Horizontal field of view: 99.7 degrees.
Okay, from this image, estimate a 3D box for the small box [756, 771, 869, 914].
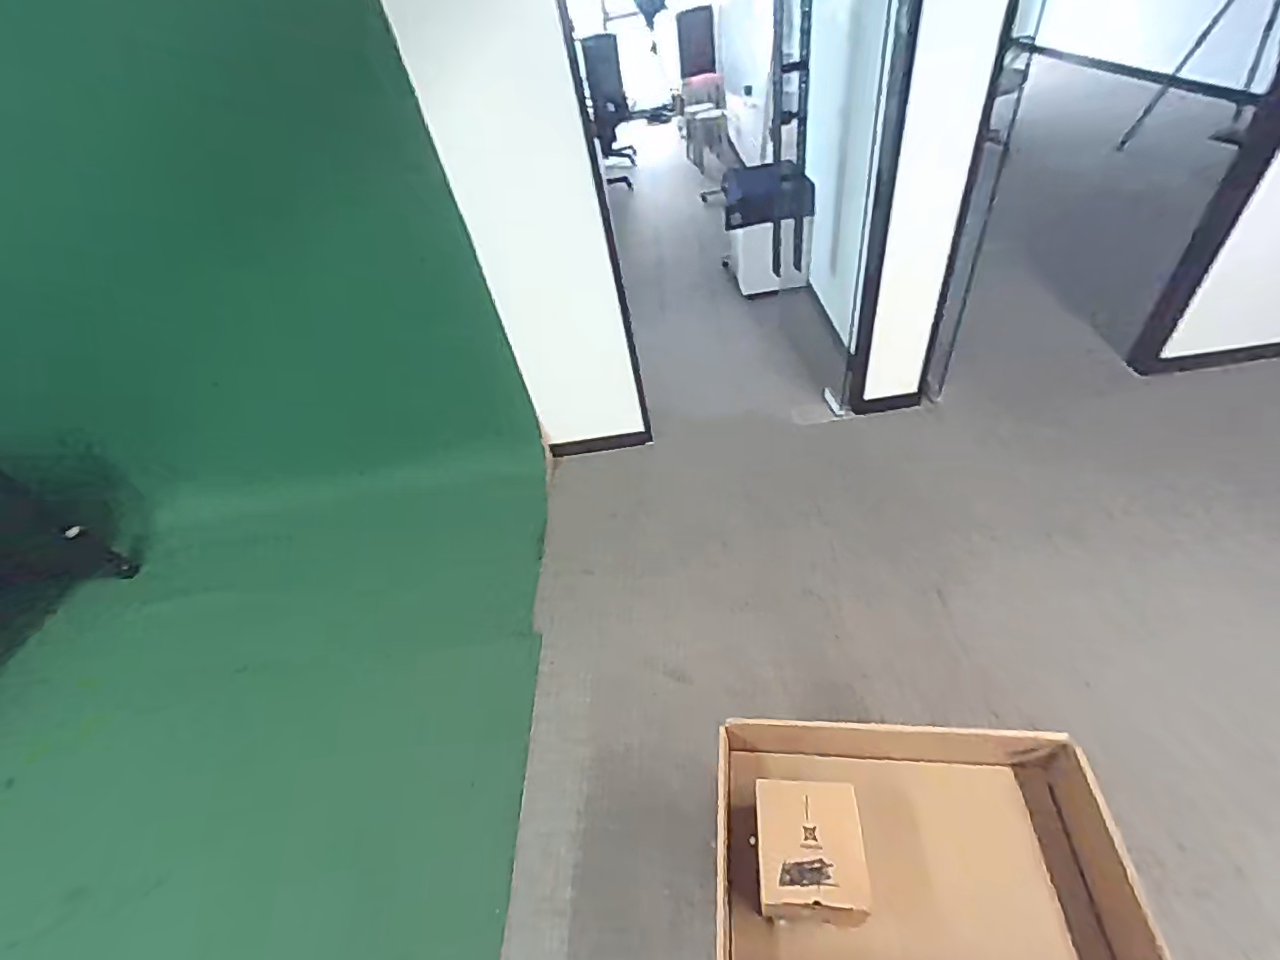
[{"bbox_3d":[0.292,0.630,0.940,0.168,0.176,0.179,-3,45,12],"label":"small box"}]
